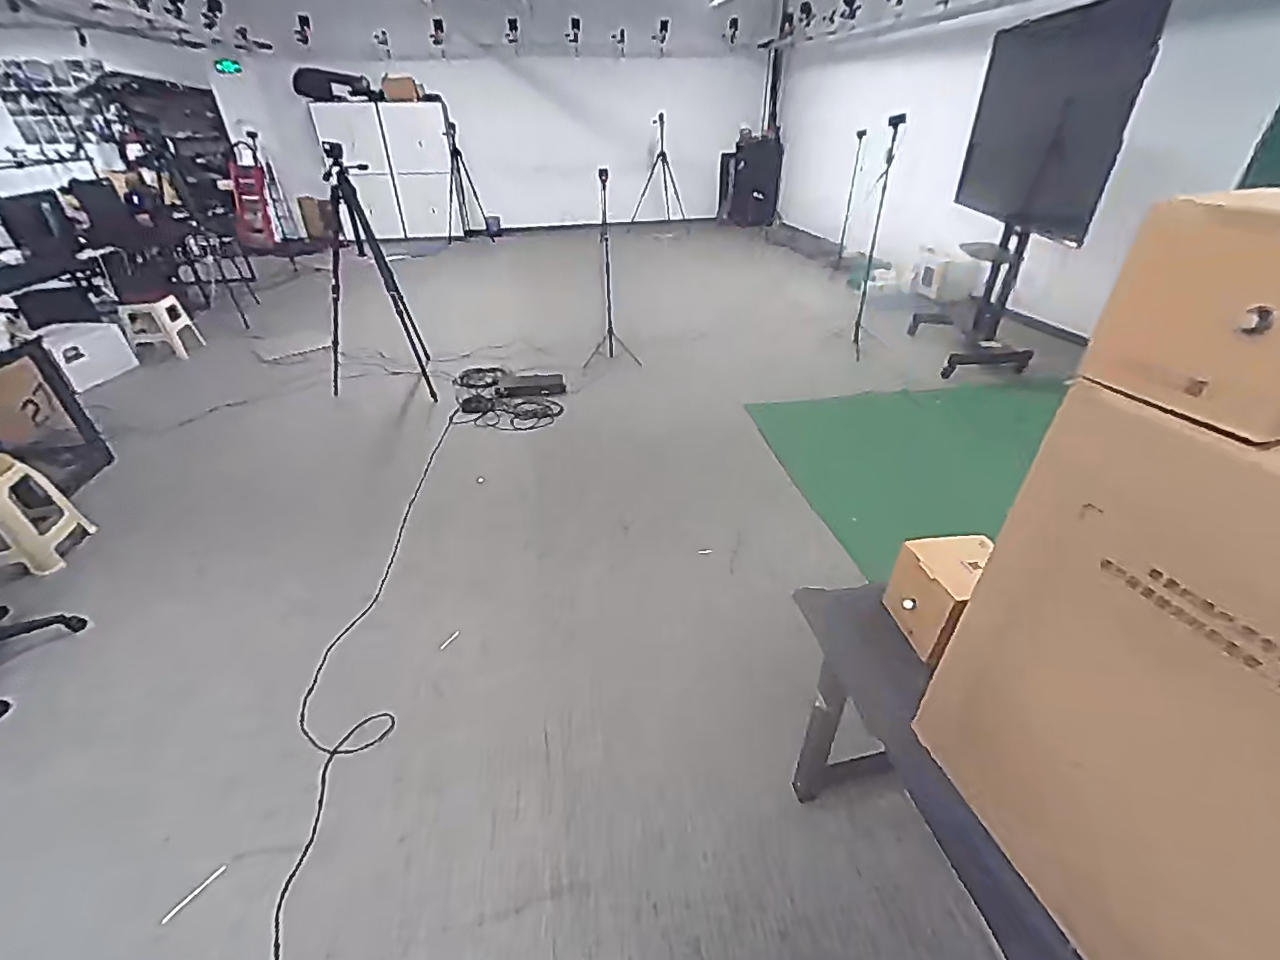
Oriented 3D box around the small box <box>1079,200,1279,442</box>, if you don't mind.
[{"bbox_3d":[0.545,-0.144,0.480,0.179,0.176,0.168,-8,34,-12],"label":"small box"}]
